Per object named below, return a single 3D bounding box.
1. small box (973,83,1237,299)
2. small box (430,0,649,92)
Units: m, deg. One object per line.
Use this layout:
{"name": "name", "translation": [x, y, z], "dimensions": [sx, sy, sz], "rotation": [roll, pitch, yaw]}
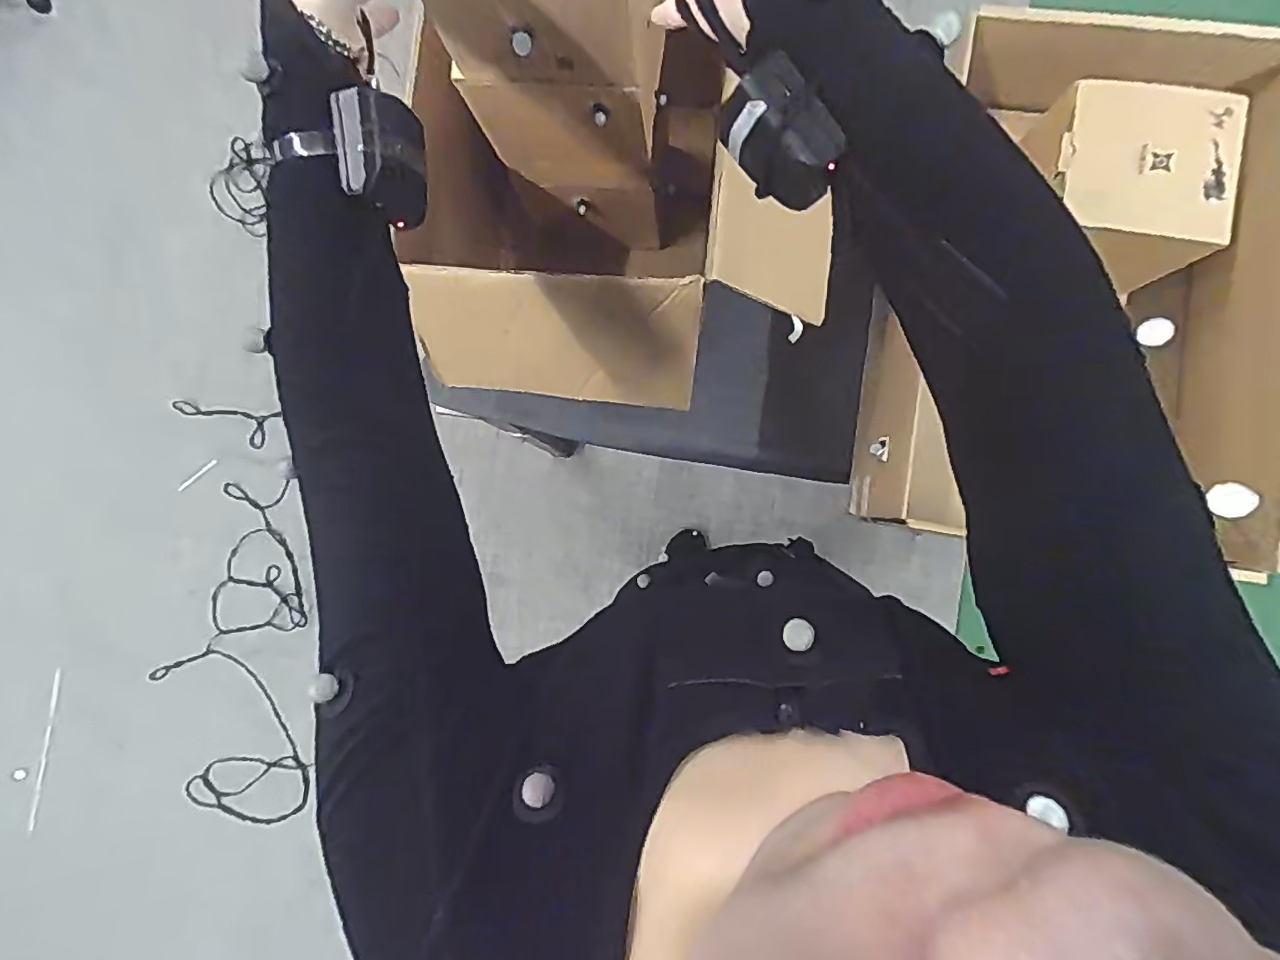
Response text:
{"name": "small box", "translation": [0.543, -0.337, 0.659], "dimensions": [0.179, 0.176, 0.168], "rotation": [9, 89, 5]}
{"name": "small box", "translation": [-0.078, -0.439, 0.401], "dimensions": [0.168, 0.176, 0.179], "rotation": [8, 91, 5]}
